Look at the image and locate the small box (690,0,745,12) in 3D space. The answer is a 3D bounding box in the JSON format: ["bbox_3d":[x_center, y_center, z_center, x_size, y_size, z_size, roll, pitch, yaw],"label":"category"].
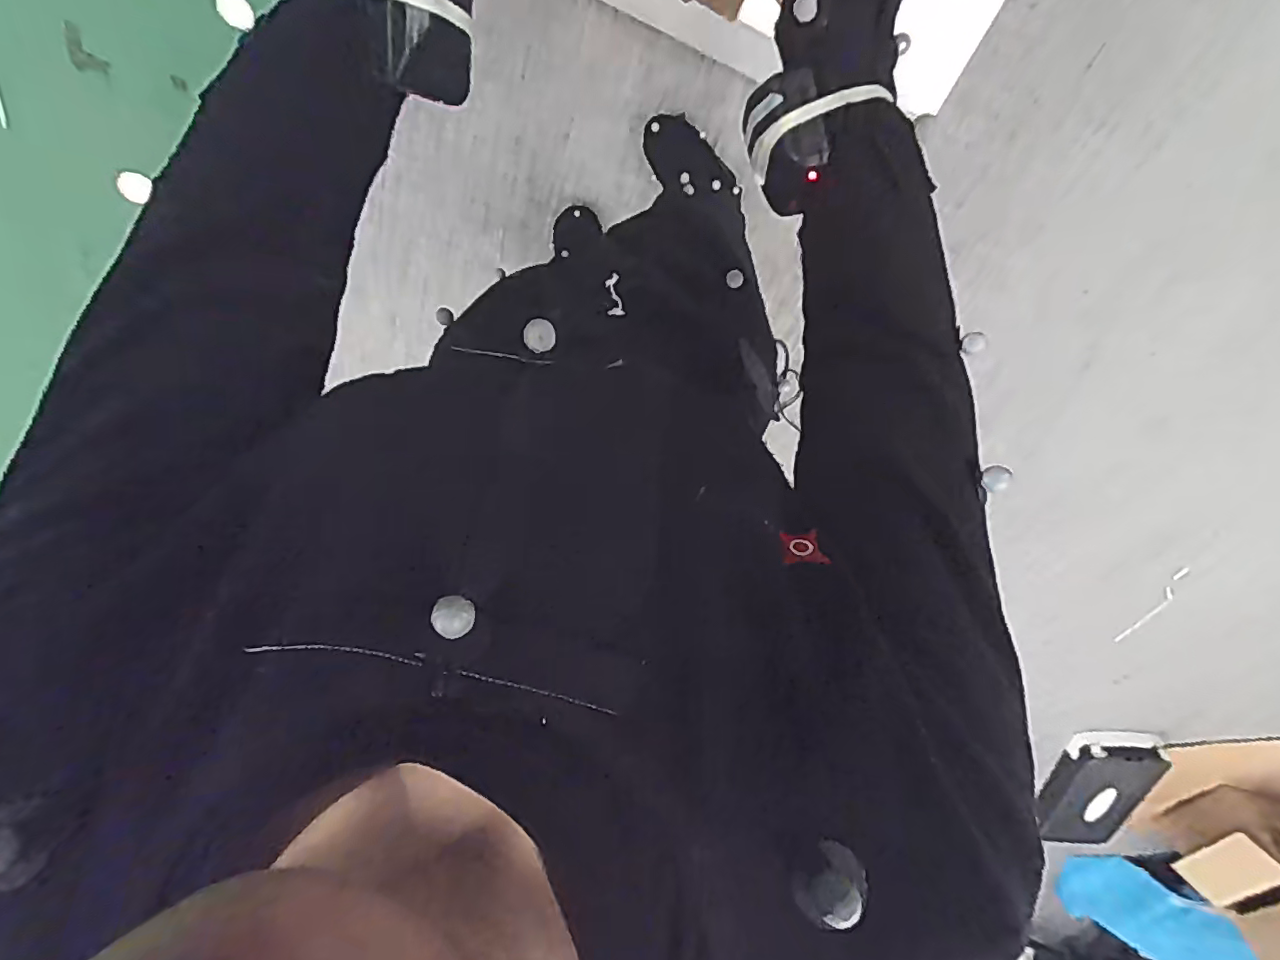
[{"bbox_3d":[0.037,-0.469,0.377,0.179,0.176,0.168,23,122,-8],"label":"small box"}]
